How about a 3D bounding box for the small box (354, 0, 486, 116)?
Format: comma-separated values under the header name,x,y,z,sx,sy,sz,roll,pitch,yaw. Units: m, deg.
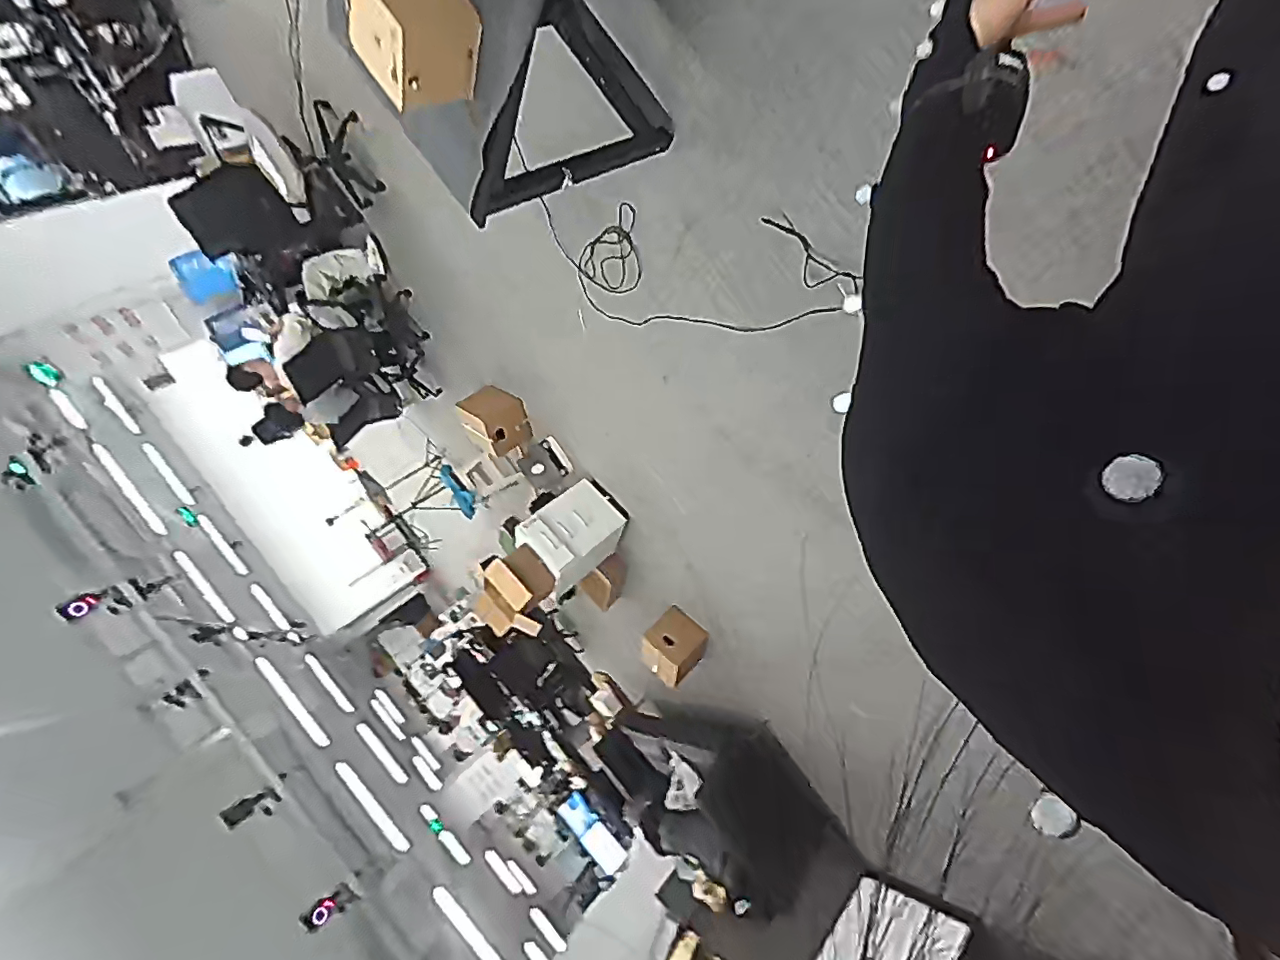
name,x,y,z,sx,sy,sz,roll,pitch,yaw
small box,-0.429,-0.858,1.052,0.179,0.176,0.168,55,151,0
